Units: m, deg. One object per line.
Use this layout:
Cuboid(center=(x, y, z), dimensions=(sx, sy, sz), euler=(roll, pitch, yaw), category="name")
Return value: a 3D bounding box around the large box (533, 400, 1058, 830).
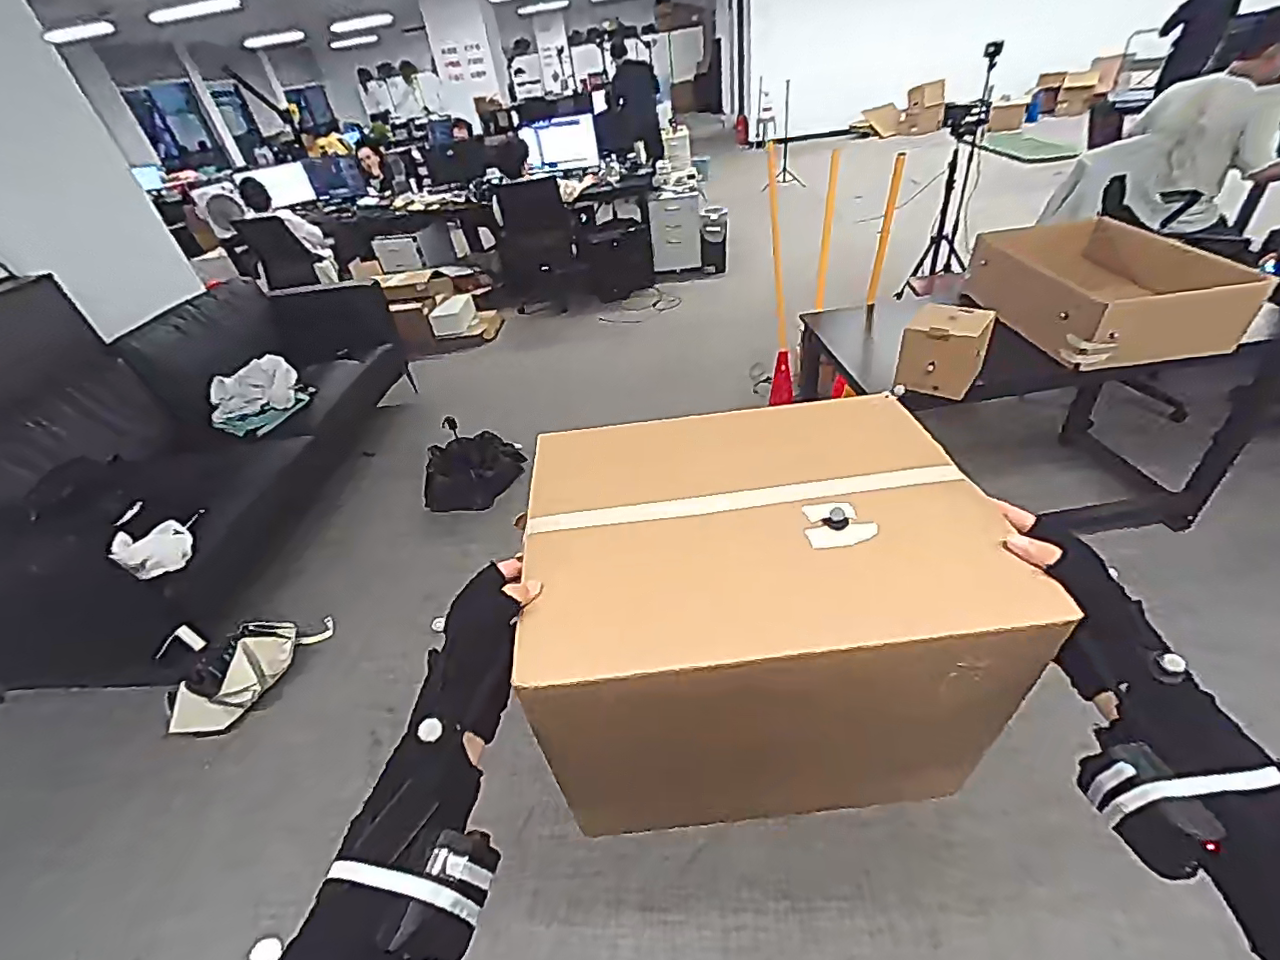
Cuboid(center=(0.113, 0.141, 0.603), dimensions=(0.408, 0.320, 0.320), euler=(-7, 40, -1), category="large box")
